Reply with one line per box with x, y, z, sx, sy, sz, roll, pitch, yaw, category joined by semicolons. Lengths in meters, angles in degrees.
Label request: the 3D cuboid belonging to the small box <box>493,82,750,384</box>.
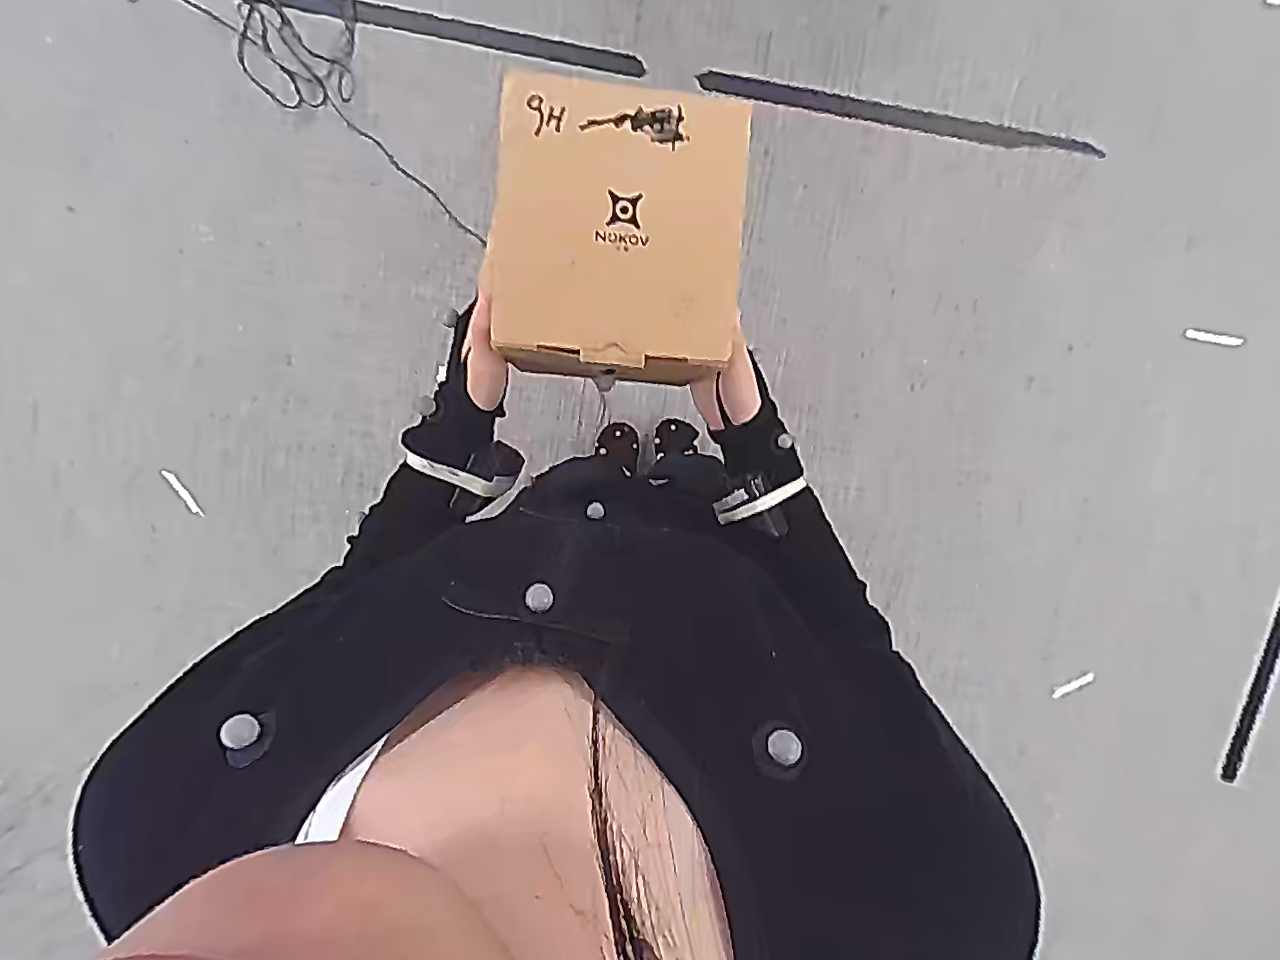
-0.020;-0.177;0.448;0.168;0.176;0.179;4;95;-6;small box

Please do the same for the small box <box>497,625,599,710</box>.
-0.169;0.387;1.008;0.168;0.176;0.179;6;98;1;small box

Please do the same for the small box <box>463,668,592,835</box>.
-0.168;0.411;0.845;0.168;0.176;0.179;2;97;2;small box

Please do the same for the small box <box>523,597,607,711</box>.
-0.164;0.373;1.170;0.168;0.176;0.179;7;96;-1;small box
